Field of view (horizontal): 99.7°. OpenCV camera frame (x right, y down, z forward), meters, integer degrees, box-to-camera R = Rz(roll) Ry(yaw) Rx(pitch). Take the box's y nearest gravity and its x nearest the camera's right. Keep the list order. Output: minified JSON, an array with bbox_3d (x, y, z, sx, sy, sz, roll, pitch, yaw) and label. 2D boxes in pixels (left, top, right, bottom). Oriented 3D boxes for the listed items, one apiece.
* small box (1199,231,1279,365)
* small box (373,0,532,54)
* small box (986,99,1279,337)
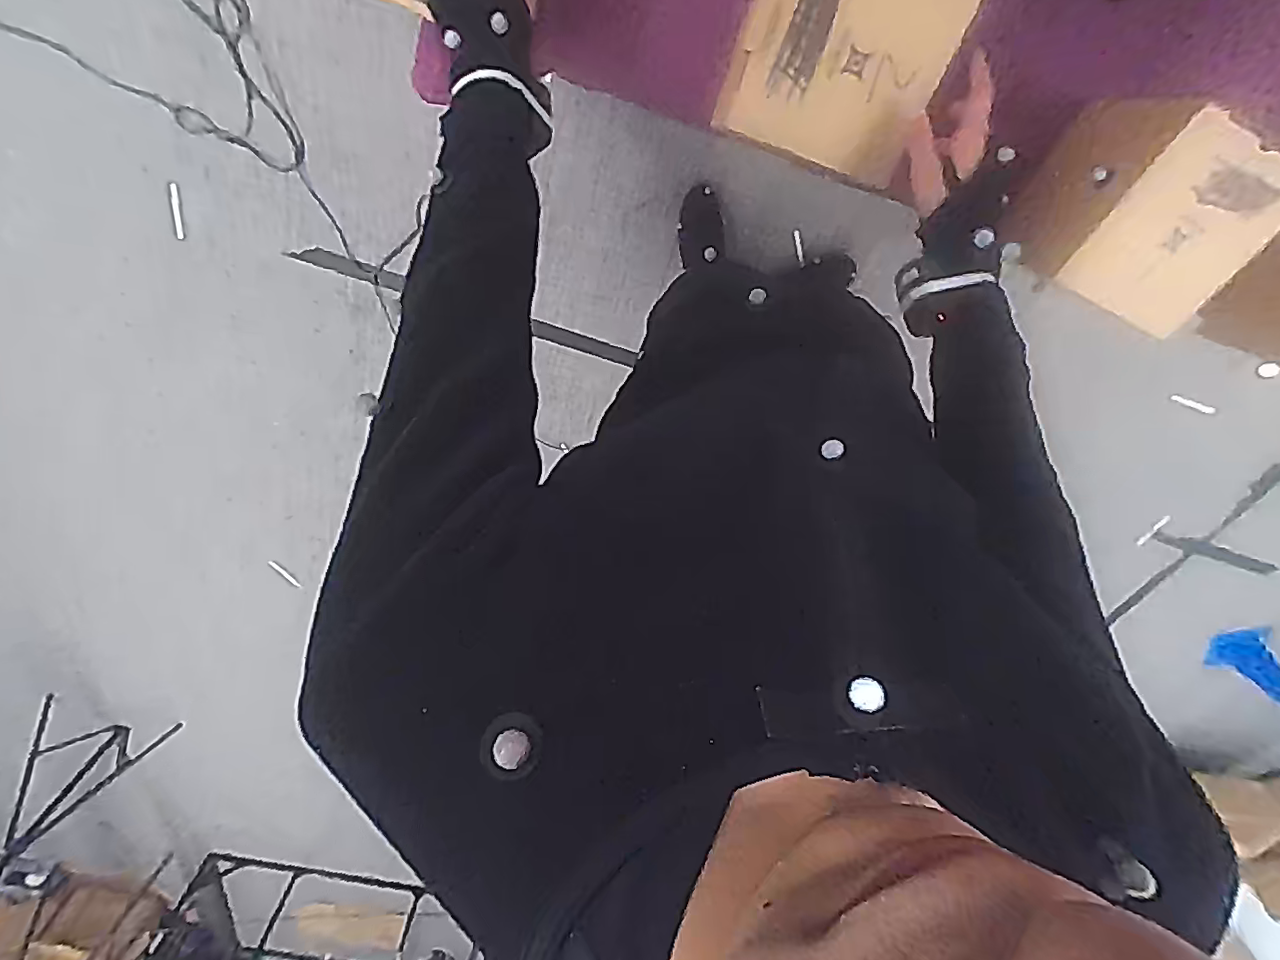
[{"bbox_3d":[0.868,-0.214,0.654,0.168,0.176,0.179,16,123,-7],"label":"small box"},{"bbox_3d":[-0.193,-0.524,0.497,0.179,0.176,0.168,16,123,-10],"label":"small box"},{"bbox_3d":[0.548,-0.299,0.614,0.168,0.176,0.179,21,124,-11],"label":"small box"}]
